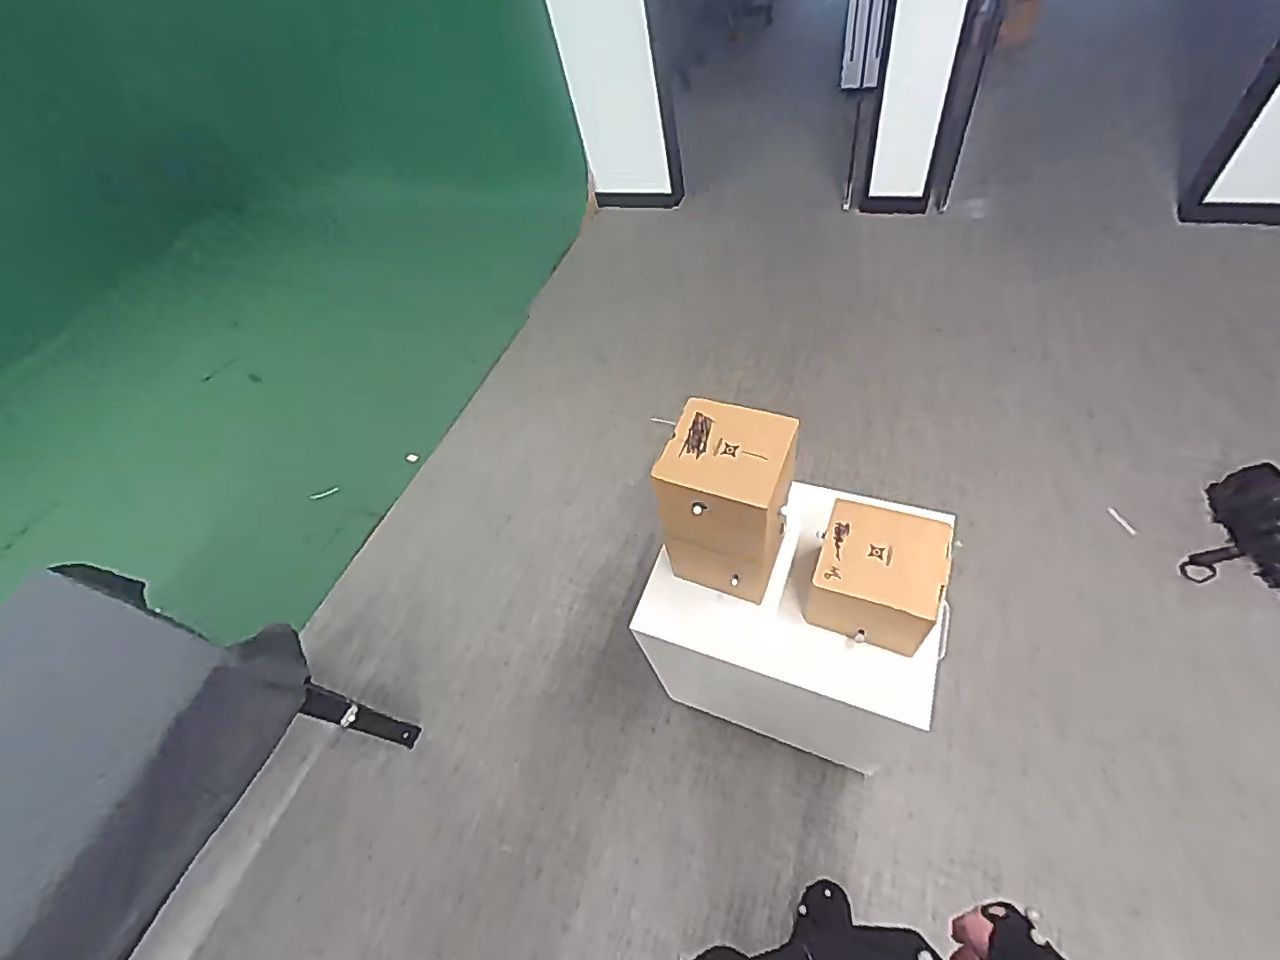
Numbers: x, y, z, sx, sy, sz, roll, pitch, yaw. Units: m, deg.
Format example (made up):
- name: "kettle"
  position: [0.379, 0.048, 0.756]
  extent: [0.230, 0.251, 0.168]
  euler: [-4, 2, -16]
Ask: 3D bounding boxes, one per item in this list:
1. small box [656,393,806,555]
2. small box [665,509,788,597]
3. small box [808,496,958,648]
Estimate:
- name: "small box"
  position: [0.143, -0.005, 0.840]
  extent: [0.179, 0.176, 0.168]
  euler: [17, 60, 20]
- name: "small box"
  position: [0.163, 0.091, 0.973]
  extent: [0.179, 0.176, 0.168]
  euler: [15, 59, 21]
- name: "small box"
  position: [0.385, 0.155, 0.879]
  extent: [0.179, 0.176, 0.168]
  euler: [16, 61, 21]
